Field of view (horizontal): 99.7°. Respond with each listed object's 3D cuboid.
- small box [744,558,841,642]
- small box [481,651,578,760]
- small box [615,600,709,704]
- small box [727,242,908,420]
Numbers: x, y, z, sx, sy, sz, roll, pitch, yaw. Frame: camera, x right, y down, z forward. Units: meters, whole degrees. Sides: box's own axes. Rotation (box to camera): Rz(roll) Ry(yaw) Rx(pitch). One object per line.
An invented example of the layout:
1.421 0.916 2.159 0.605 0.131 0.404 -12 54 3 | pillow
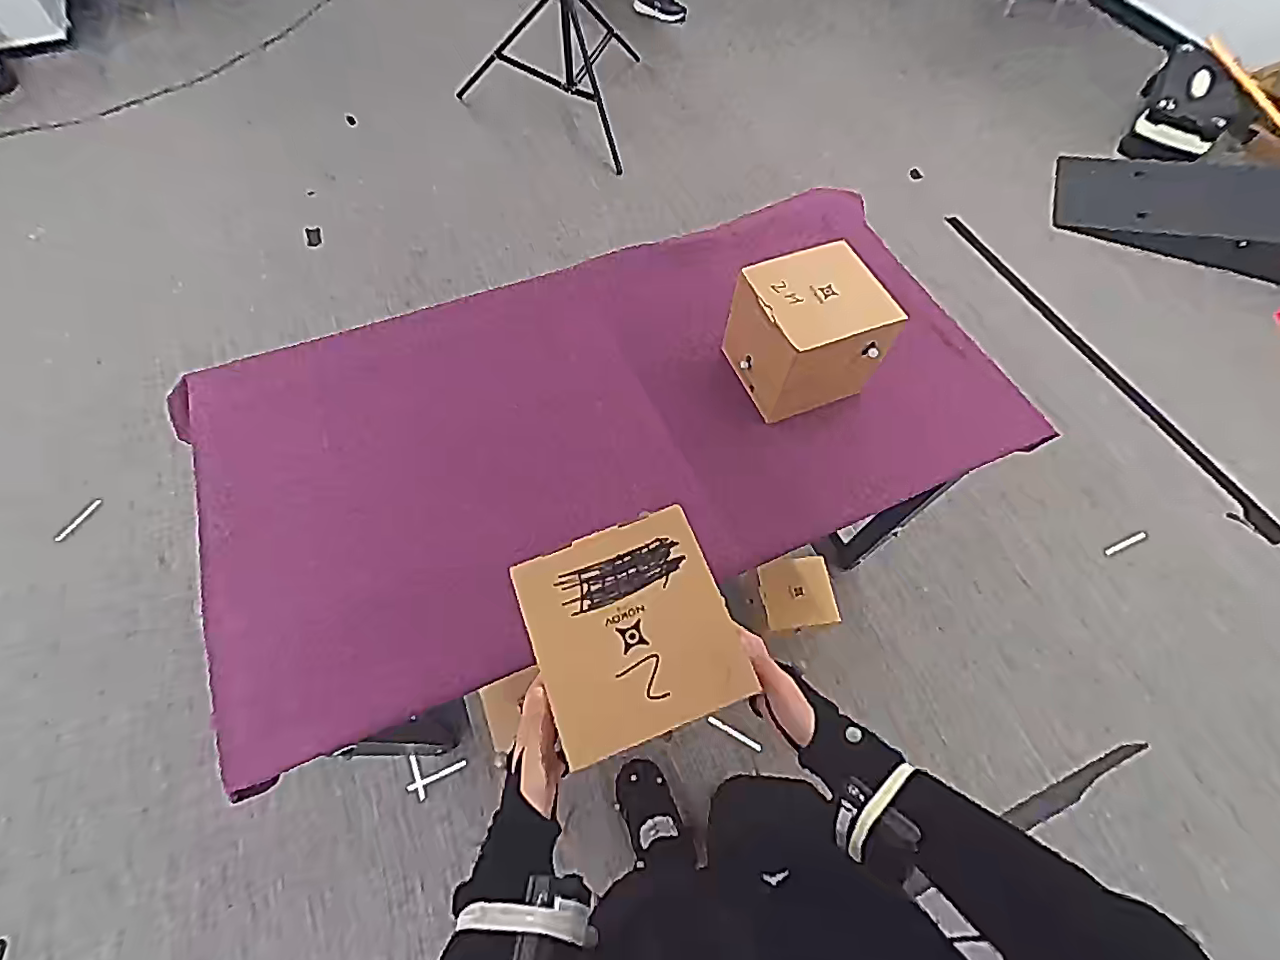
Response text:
0.377 0.307 1.367 0.179 0.176 0.168 -6 64 -4 | small box
-0.249 0.521 1.239 0.168 0.176 0.179 -19 64 -11 | small box
0.044 0.417 1.300 0.168 0.176 0.179 -22 66 -12 | small box
0.250 -0.218 0.811 0.179 0.176 0.168 -19 64 -10 | small box
